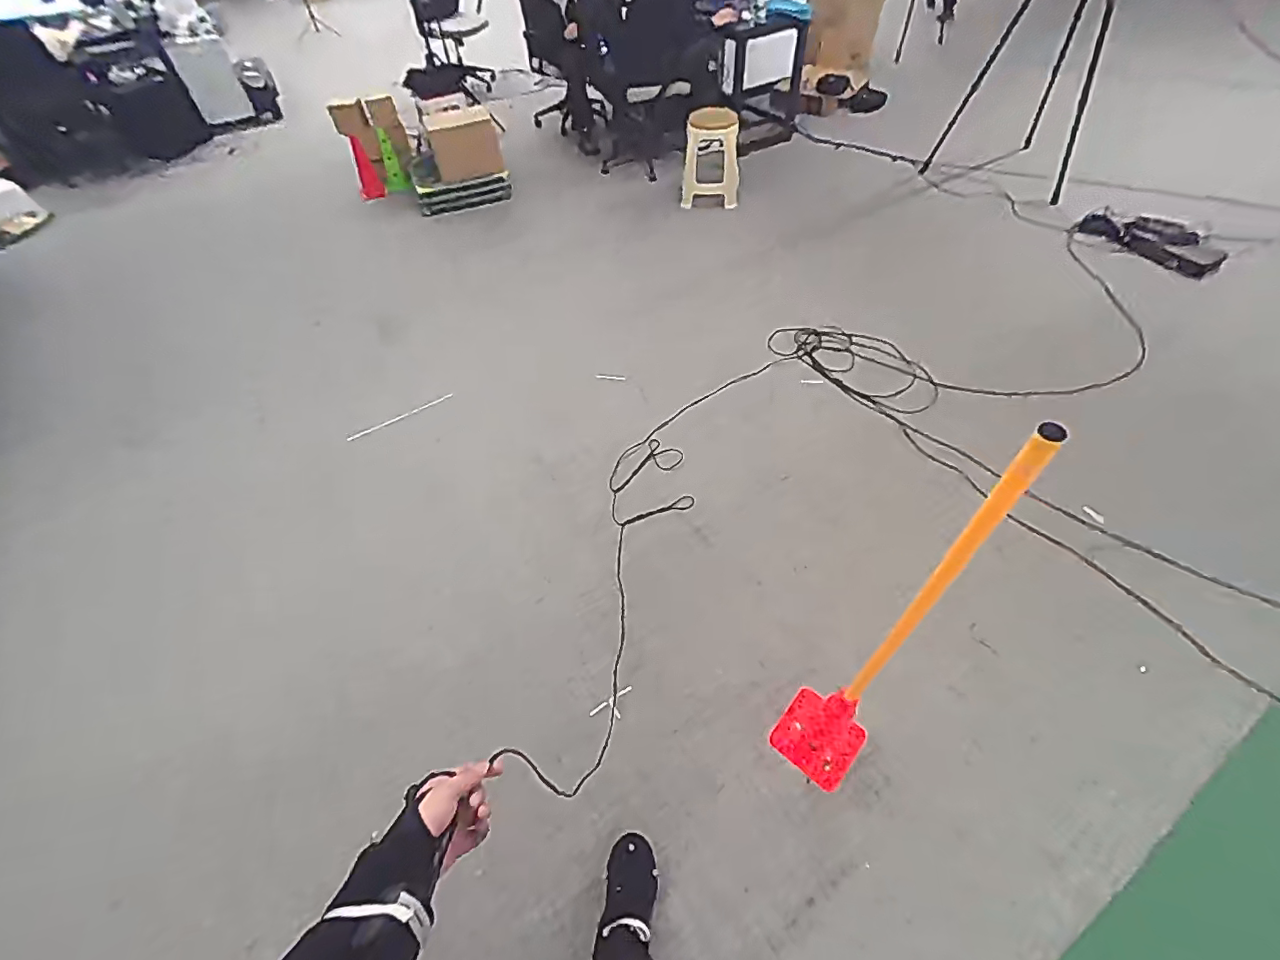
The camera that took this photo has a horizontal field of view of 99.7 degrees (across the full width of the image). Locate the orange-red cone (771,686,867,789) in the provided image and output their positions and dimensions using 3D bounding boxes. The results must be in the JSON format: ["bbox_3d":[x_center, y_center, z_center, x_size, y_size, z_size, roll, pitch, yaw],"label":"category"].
[{"bbox_3d":[0.472,0.574,1.309,0.198,0.360,0.199,35,60,26],"label":"orange-red cone"}]
